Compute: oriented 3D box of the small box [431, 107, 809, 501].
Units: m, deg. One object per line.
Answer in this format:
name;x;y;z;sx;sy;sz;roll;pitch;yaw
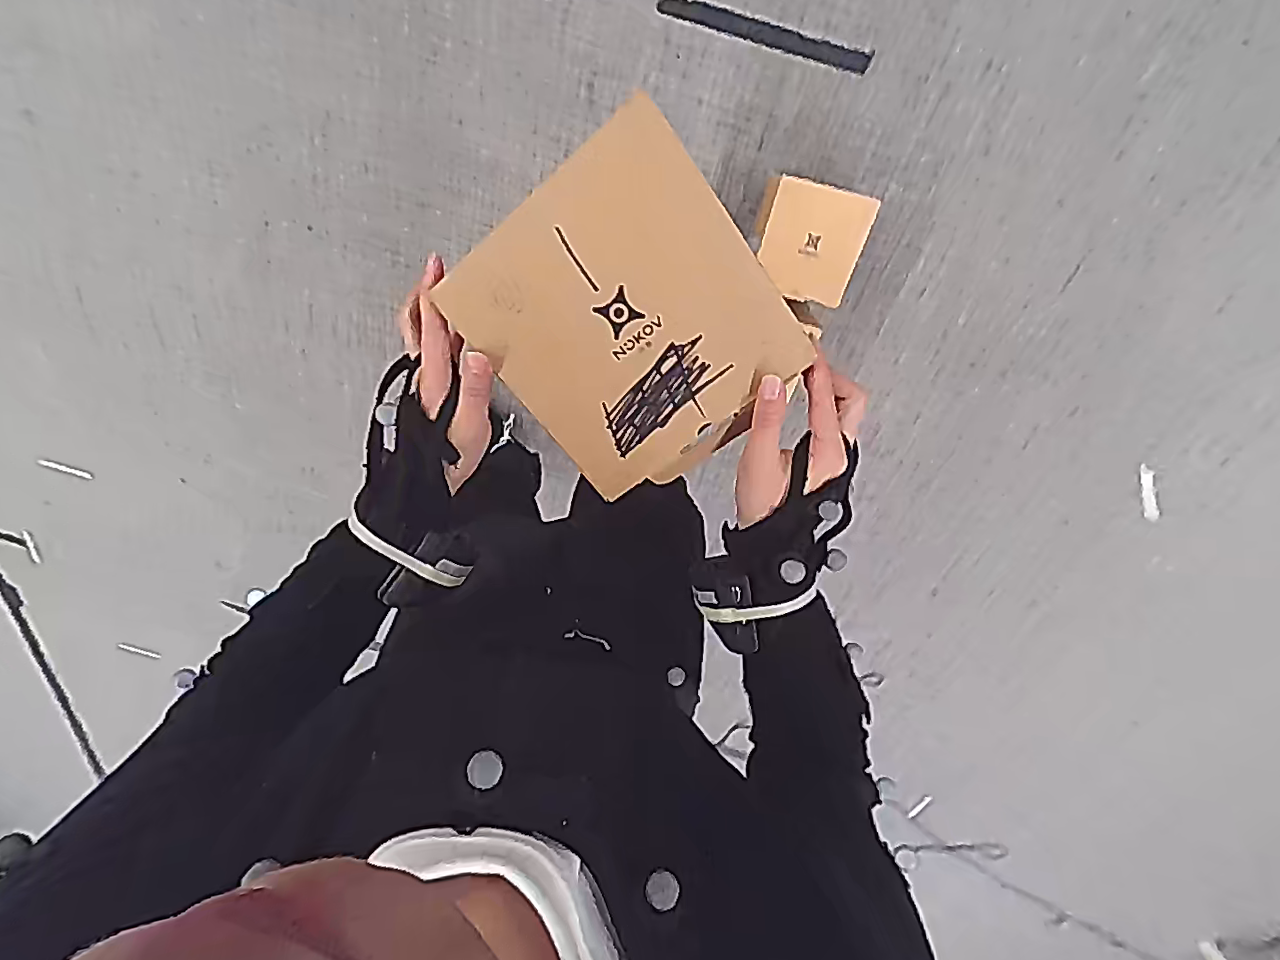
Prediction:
small box;-0.007;-0.122;0.398;0.168;0.176;0.179;-35;109;16
